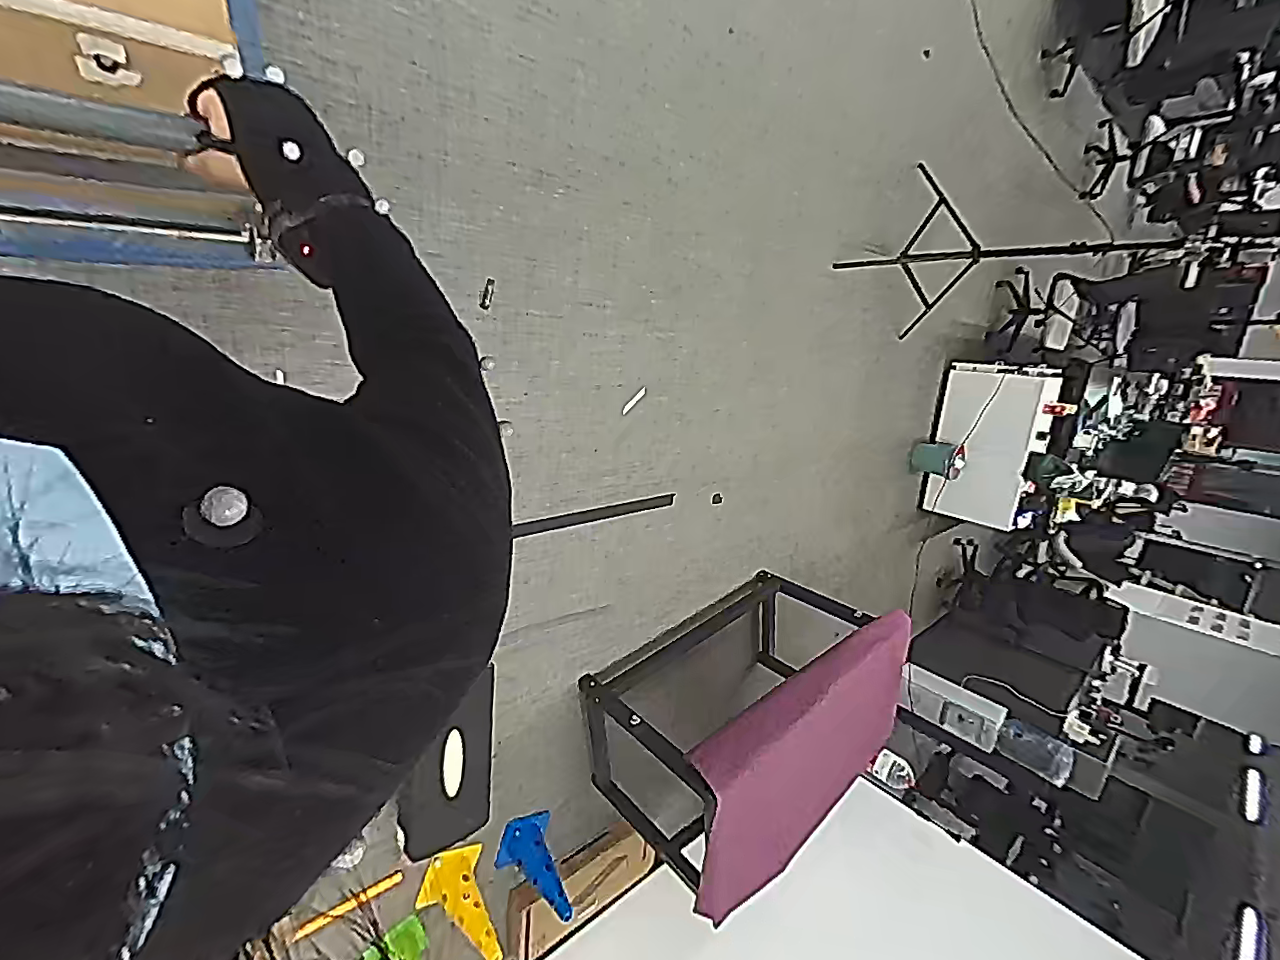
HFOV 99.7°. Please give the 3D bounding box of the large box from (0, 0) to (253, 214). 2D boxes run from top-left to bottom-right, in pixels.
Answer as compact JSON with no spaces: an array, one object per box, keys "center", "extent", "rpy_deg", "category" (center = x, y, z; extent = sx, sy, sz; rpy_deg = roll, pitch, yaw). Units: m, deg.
[{"center":[-0.799,-0.560,0.710],"extent":[0.408,0.320,0.320],"rpy_deg":[-13,111,-40],"category":"large box"}]
